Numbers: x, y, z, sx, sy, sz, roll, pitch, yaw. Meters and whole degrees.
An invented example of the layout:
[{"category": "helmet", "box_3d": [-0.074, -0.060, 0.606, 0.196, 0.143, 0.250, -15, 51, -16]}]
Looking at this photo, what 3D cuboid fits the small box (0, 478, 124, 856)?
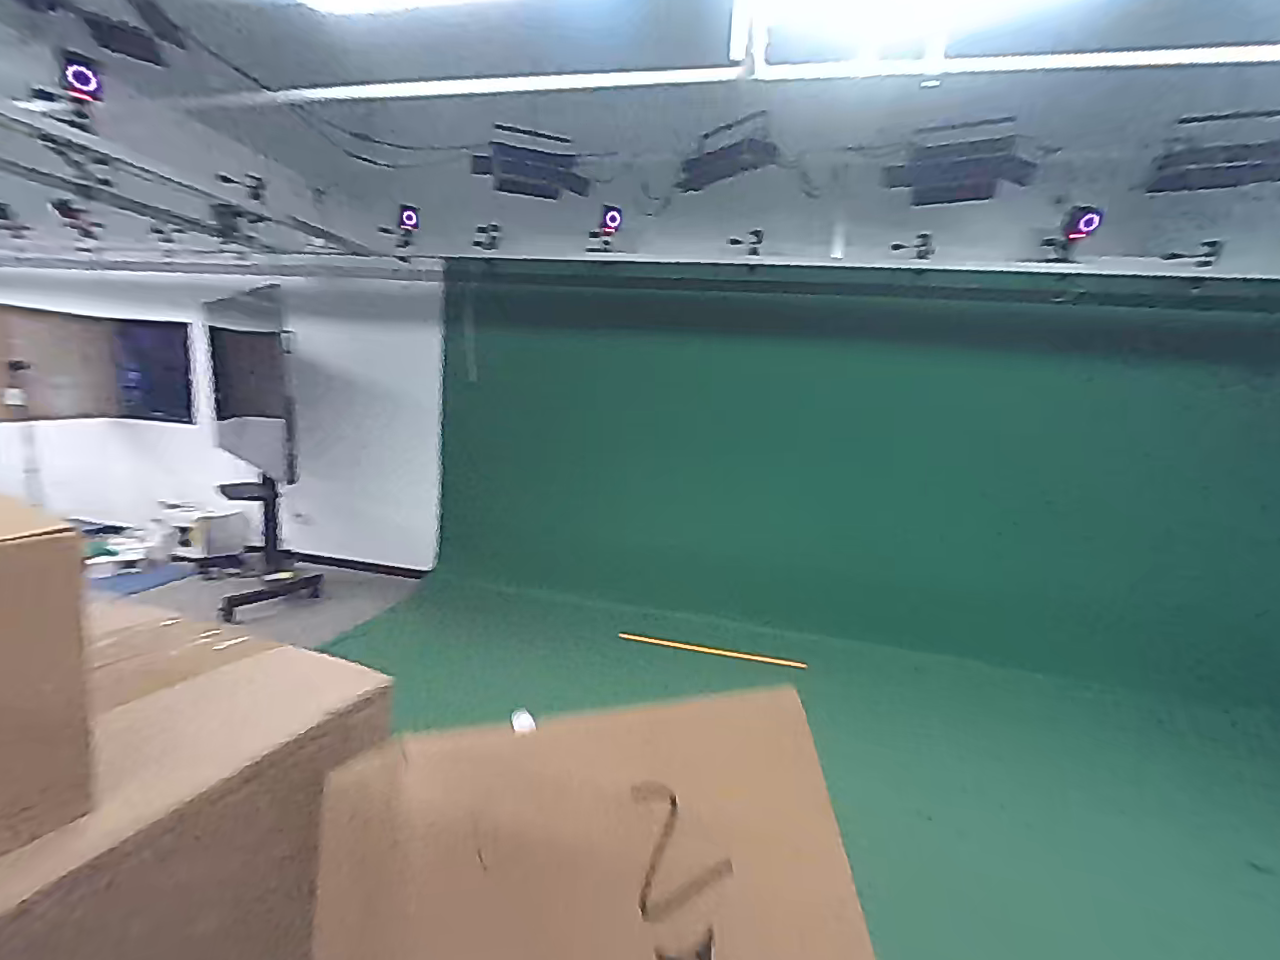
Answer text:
[{"category": "small box", "box_3d": [-0.402, 0.098, 0.265, 0.179, 0.176, 0.168, 11, 10, 23]}]
